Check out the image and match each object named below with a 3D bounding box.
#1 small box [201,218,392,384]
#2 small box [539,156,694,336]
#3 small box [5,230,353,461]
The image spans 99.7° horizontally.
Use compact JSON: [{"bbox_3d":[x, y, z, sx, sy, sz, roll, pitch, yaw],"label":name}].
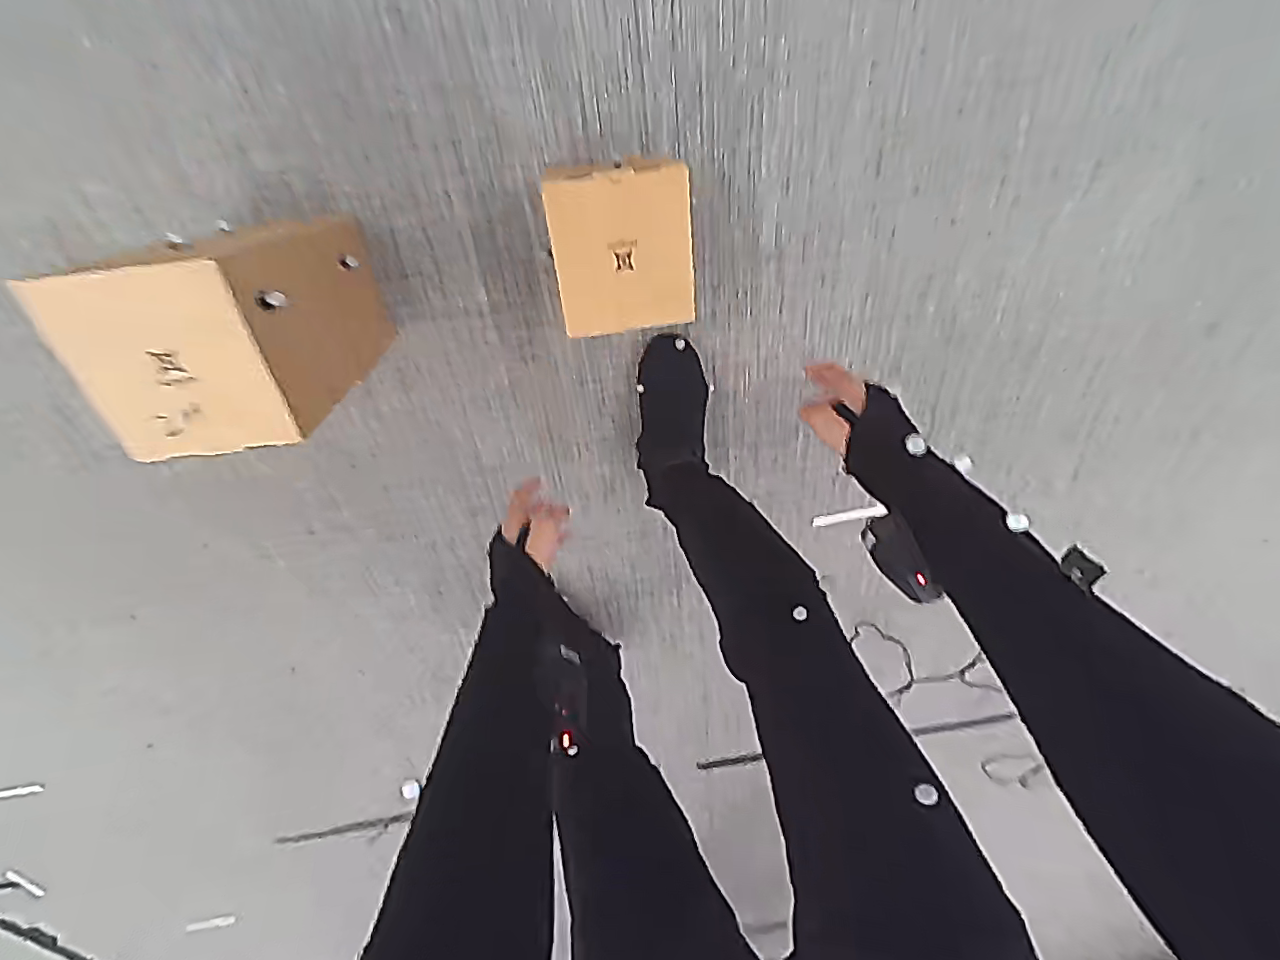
[{"bbox_3d":[-0.440,-0.224,0.681,0.168,0.176,0.179,-7,123,-2],"label":"small box"},{"bbox_3d":[-0.029,-0.304,0.693,0.168,0.176,0.179,-9,123,-3],"label":"small box"},{"bbox_3d":[-0.422,-0.143,0.540,0.168,0.176,0.179,-7,124,-2],"label":"small box"}]
